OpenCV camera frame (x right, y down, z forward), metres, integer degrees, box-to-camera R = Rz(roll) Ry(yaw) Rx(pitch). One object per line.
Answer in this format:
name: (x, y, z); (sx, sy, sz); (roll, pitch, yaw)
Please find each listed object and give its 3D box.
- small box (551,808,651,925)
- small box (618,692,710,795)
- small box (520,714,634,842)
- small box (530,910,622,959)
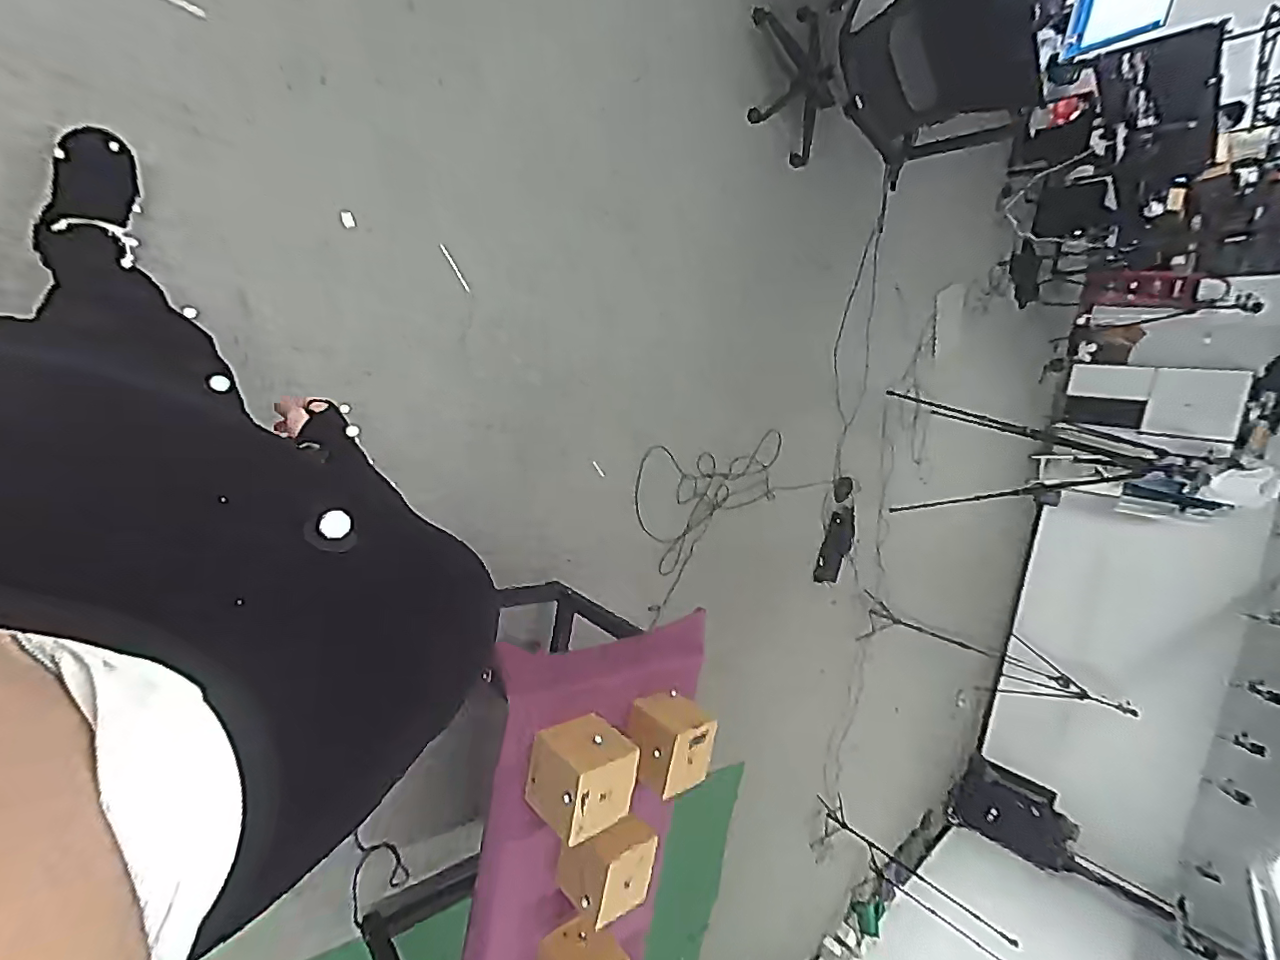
small box: (-0.102, 0.936, 1.351); (0.168, 0.176, 0.179); (7, 96, -46)
small box: (0.058, 0.684, 1.435); (0.168, 0.176, 0.179); (7, 98, -45)
small box: (-0.144, 0.661, 1.227); (0.179, 0.176, 0.168); (4, 99, -47)
small box: (-0.175, 1.256, 1.375); (0.168, 0.176, 0.179); (8, 95, -45)
